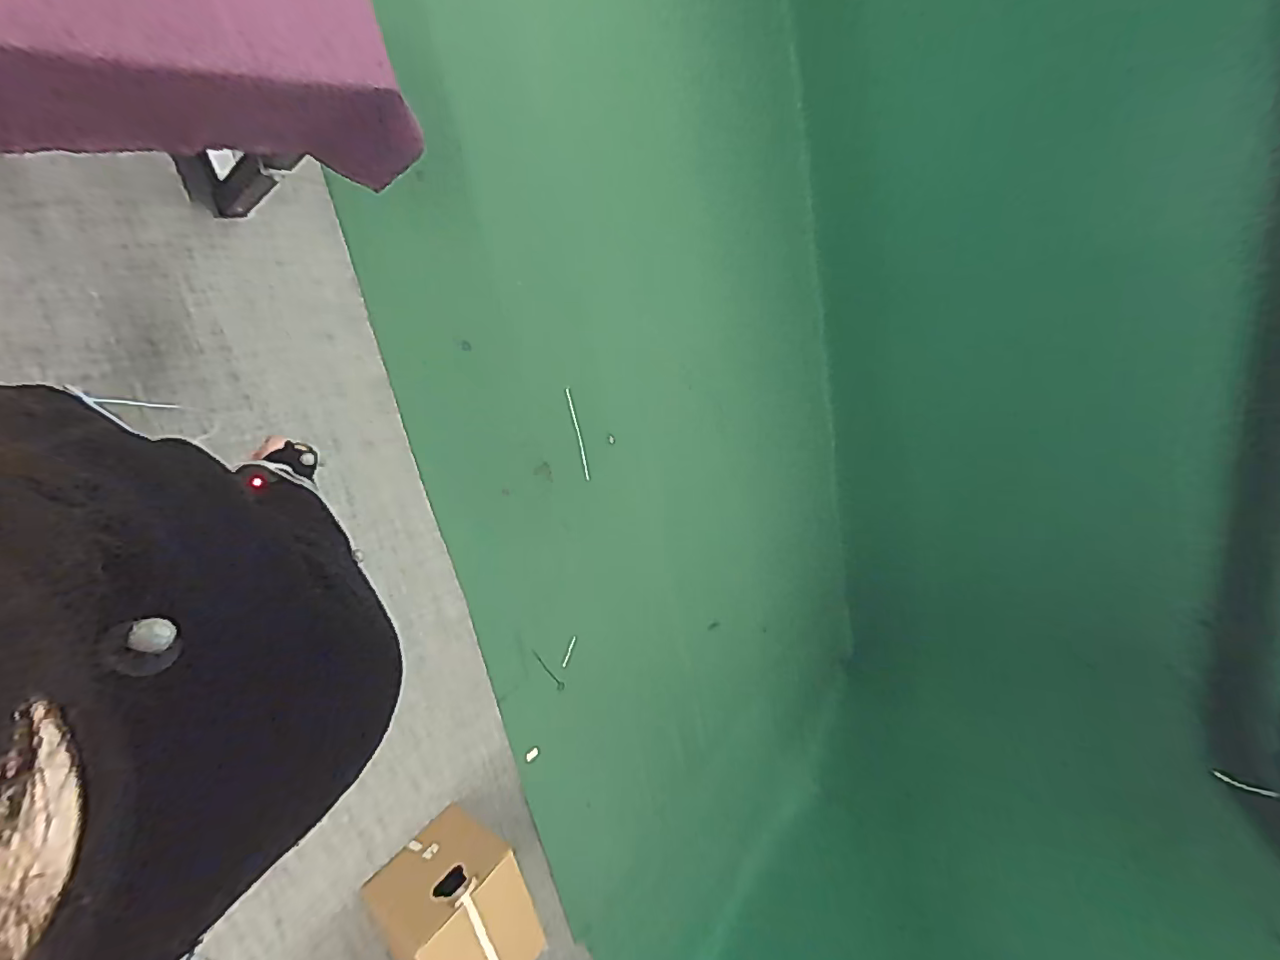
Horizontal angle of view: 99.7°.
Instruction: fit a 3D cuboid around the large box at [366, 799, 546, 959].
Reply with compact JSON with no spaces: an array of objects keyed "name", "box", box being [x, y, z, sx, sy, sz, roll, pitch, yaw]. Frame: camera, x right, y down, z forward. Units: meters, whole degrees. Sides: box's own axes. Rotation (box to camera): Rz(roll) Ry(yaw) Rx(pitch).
[{"name":"large box","box":[-0.537,1.266,1.605,0.320,0.320,0.408,-31,116,-45]}]
